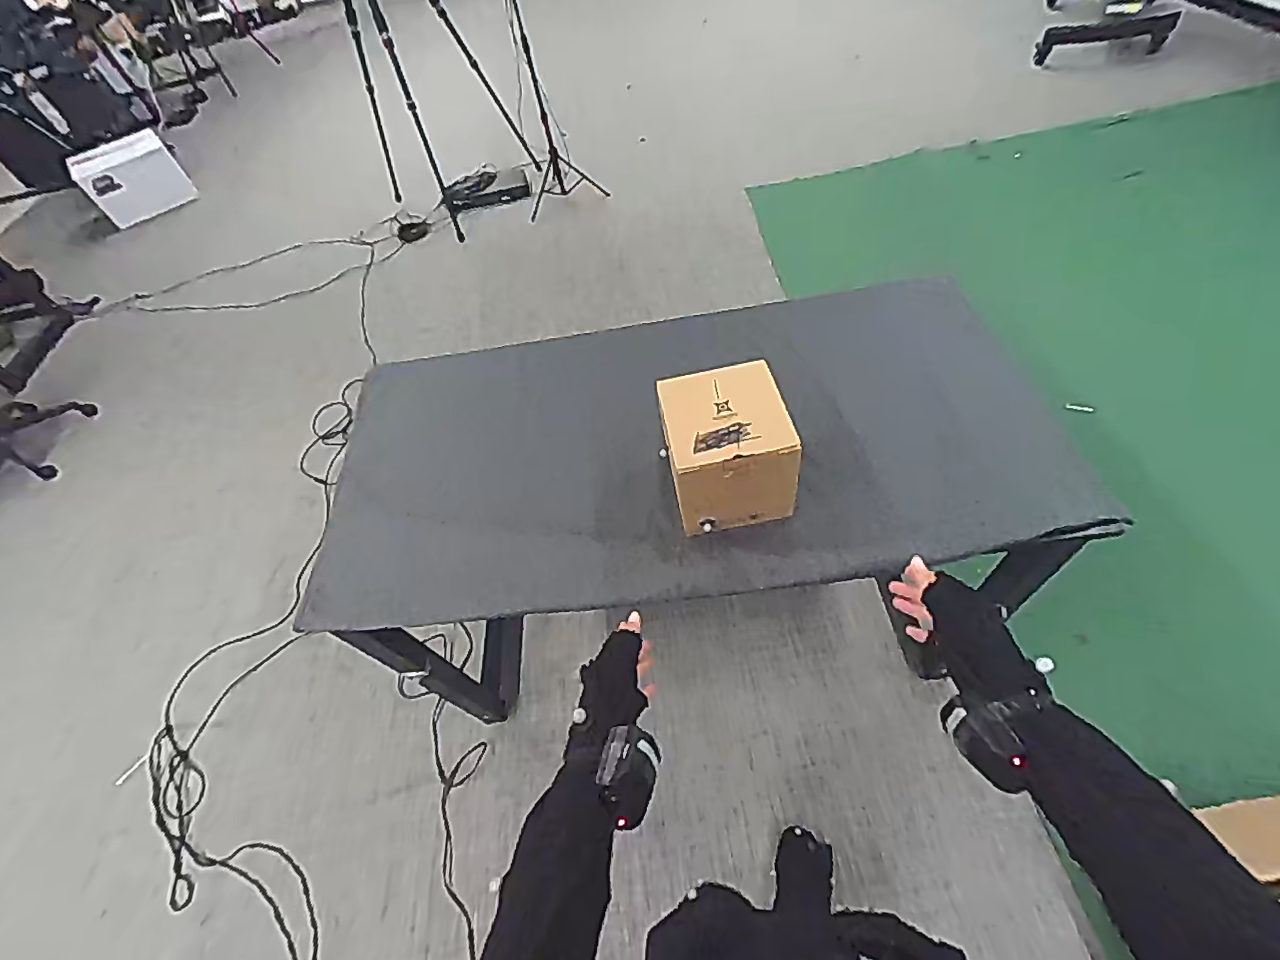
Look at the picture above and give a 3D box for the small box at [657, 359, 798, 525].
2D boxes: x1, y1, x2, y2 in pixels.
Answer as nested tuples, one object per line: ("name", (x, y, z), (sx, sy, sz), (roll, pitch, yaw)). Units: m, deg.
("small box", (0.127, -0.048, 0.807), (0.168, 0.176, 0.179), (-11, 52, 2))
